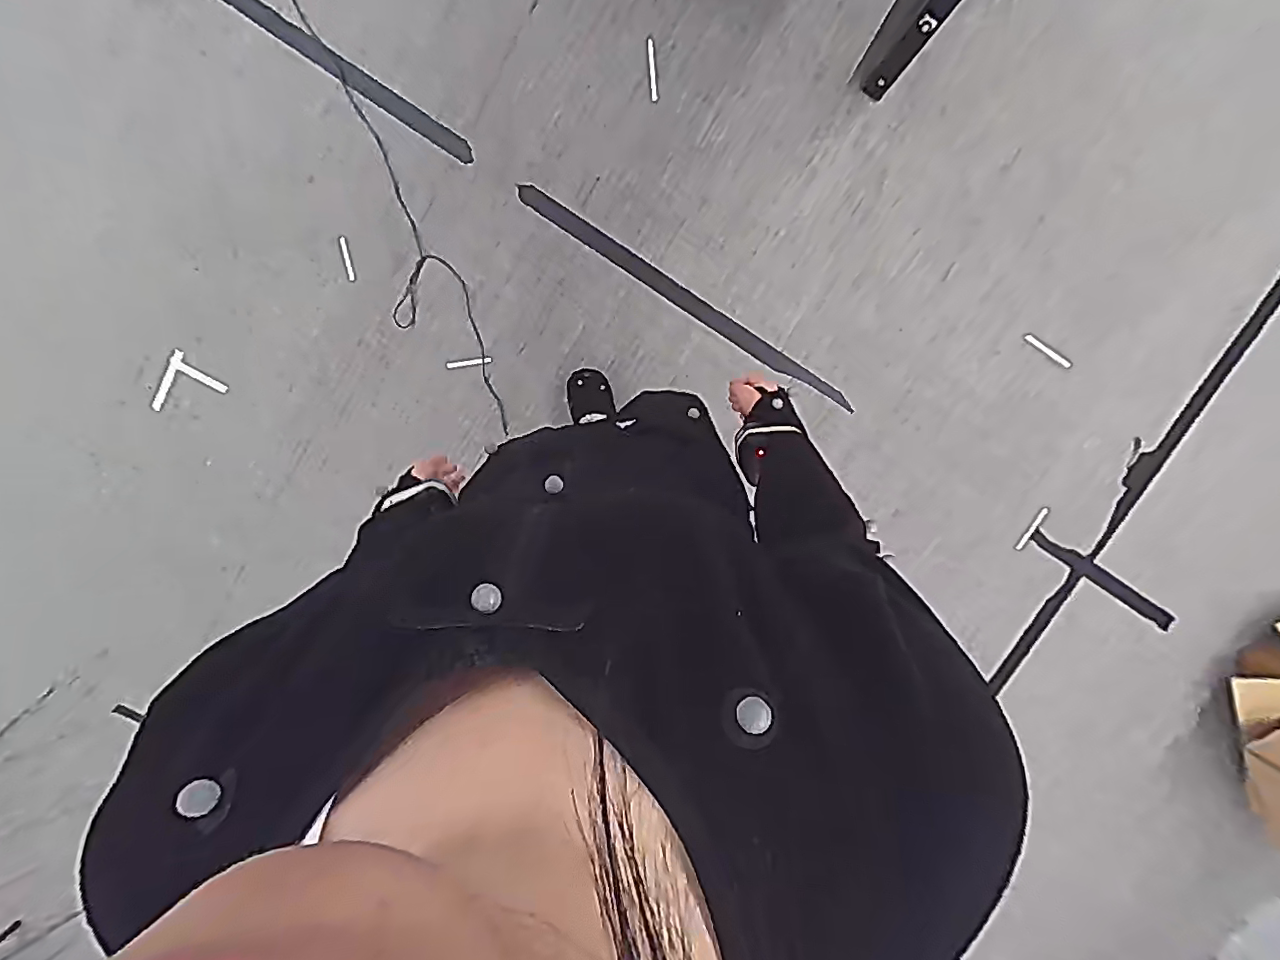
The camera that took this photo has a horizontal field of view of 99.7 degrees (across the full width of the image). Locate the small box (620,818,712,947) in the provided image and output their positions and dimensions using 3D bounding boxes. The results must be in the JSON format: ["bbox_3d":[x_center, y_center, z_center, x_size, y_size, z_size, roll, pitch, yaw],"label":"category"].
[{"bbox_3d":[0.064,1.044,1.414,0.168,0.176,0.179,35,96,-7],"label":"small box"}]
